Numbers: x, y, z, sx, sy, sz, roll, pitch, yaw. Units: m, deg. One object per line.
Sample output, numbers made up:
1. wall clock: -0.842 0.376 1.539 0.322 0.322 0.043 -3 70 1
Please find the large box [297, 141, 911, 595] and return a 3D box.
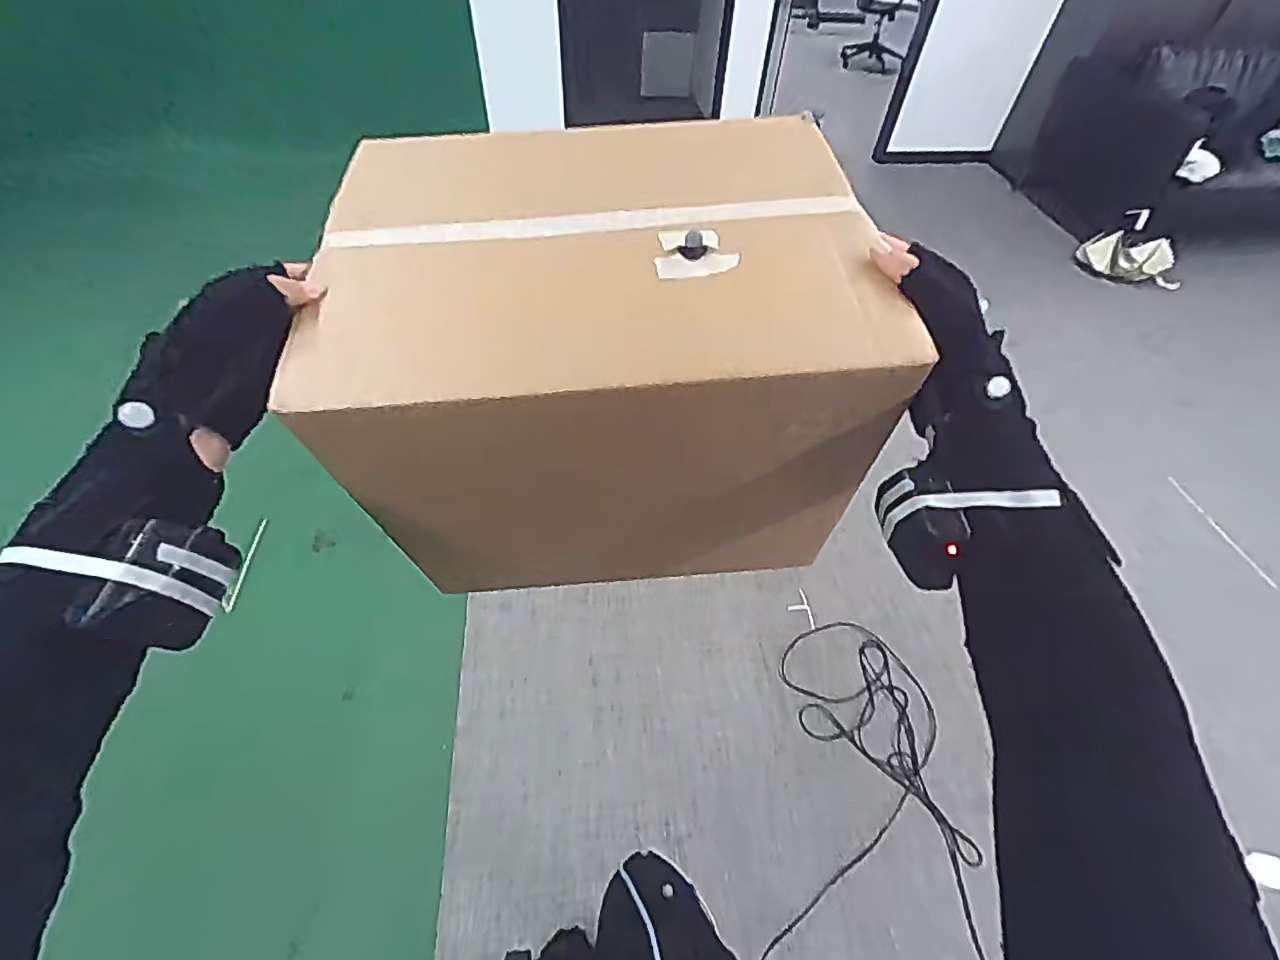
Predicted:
1. large box: -0.032 -0.098 0.547 0.408 0.320 0.320 -4 58 -2
